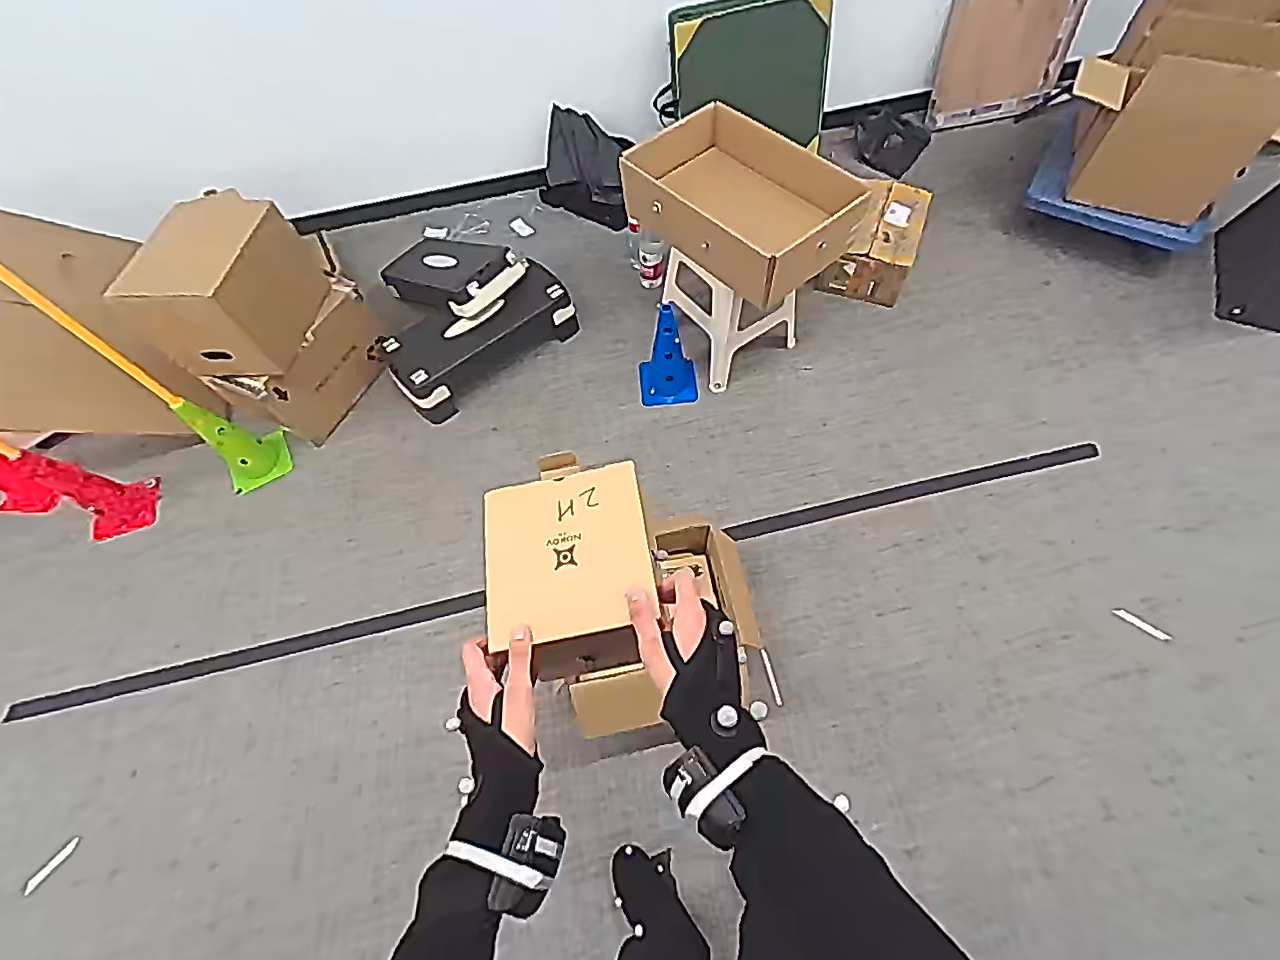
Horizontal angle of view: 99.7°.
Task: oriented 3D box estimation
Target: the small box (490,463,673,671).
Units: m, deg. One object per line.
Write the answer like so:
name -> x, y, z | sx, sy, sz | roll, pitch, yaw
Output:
small box -> -0.060, 0.108, 0.611 | 0.168, 0.176, 0.179 | -11, 60, 2
